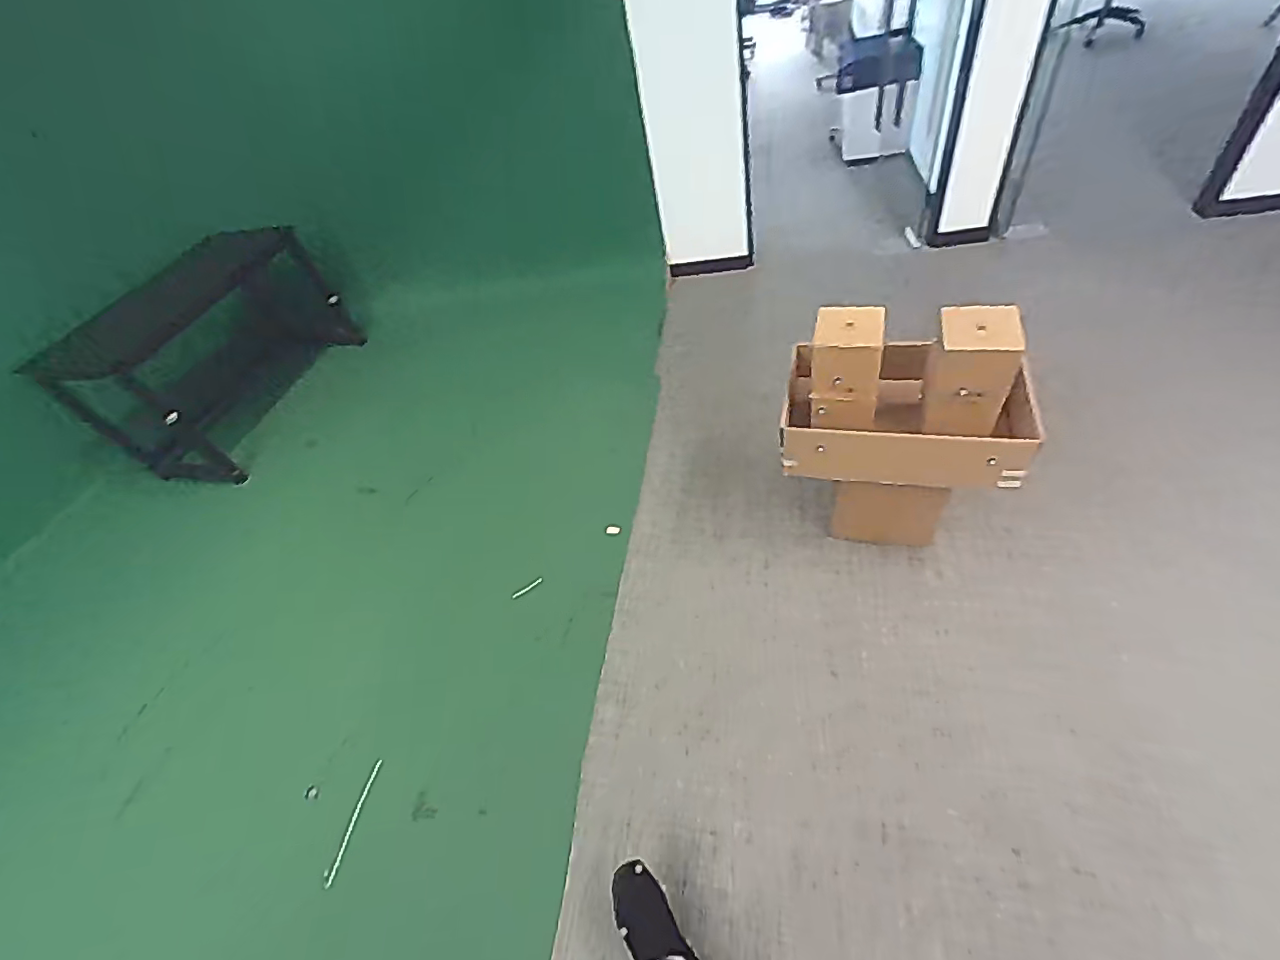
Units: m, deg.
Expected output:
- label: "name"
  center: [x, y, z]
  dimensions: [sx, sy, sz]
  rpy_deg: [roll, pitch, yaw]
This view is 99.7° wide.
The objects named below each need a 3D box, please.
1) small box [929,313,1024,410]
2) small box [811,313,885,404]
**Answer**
- label: "small box"
  center: [0.833, -0.299, 1.356]
  dimensions: [0.168, 0.176, 0.179]
  rpy_deg: [6, 51, 20]
- label: "small box"
  center: [0.558, -0.328, 1.456]
  dimensions: [0.168, 0.176, 0.179]
  rpy_deg: [6, 51, 19]
